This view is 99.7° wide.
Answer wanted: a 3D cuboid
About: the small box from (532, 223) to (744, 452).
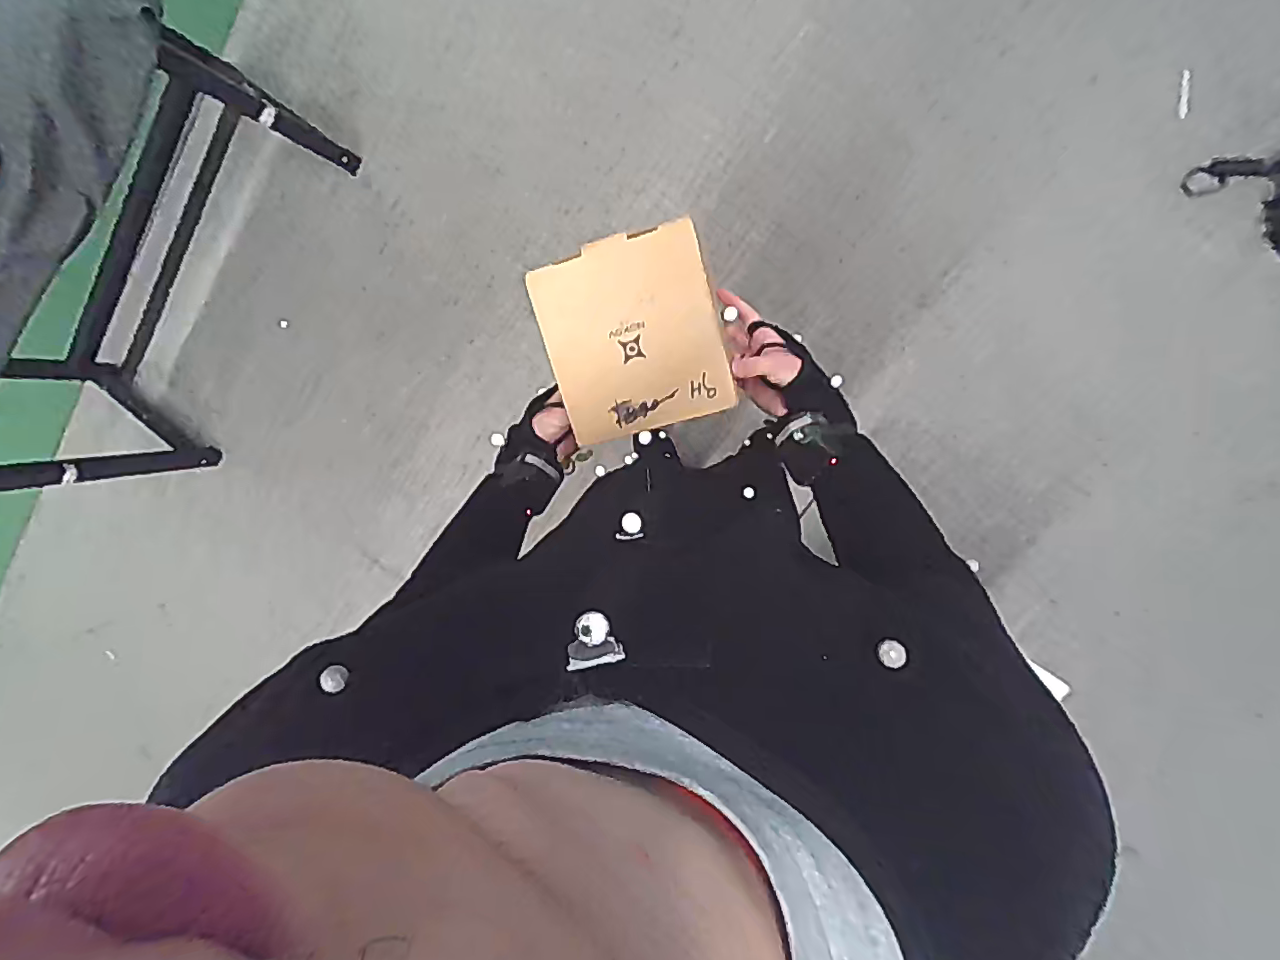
[{"bbox_3d":[0.010,-0.146,0.585,0.168,0.176,0.179,-15,101,14],"label":"small box"}]
